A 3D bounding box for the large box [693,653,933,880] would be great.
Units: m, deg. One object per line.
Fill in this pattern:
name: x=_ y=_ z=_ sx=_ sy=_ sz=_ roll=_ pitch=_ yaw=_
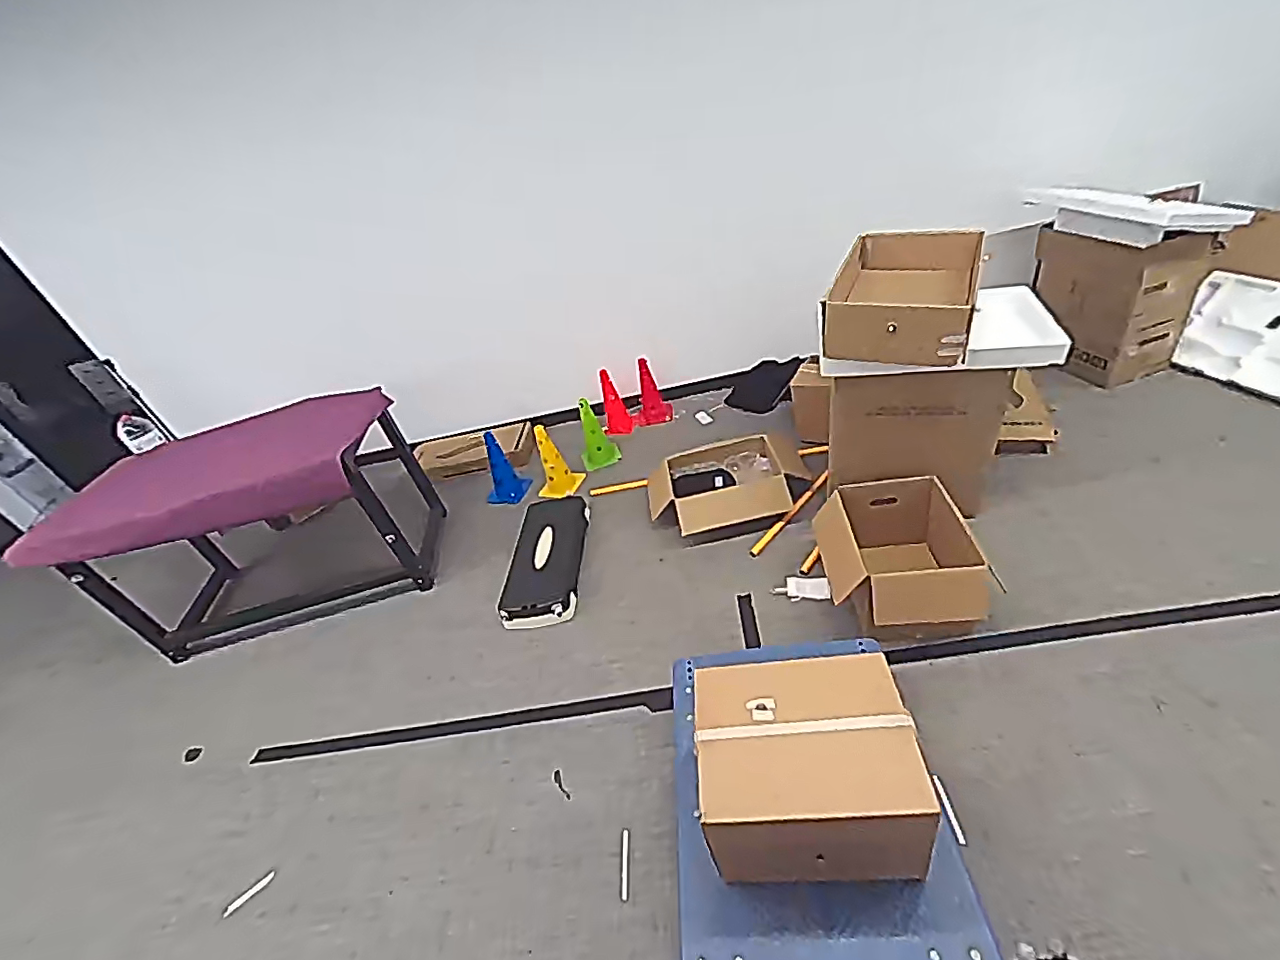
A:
large box: x=0.345 y=0.611 z=1.147 sx=0.408 sy=0.320 sz=0.320 roll=-10 pitch=35 yaw=10
